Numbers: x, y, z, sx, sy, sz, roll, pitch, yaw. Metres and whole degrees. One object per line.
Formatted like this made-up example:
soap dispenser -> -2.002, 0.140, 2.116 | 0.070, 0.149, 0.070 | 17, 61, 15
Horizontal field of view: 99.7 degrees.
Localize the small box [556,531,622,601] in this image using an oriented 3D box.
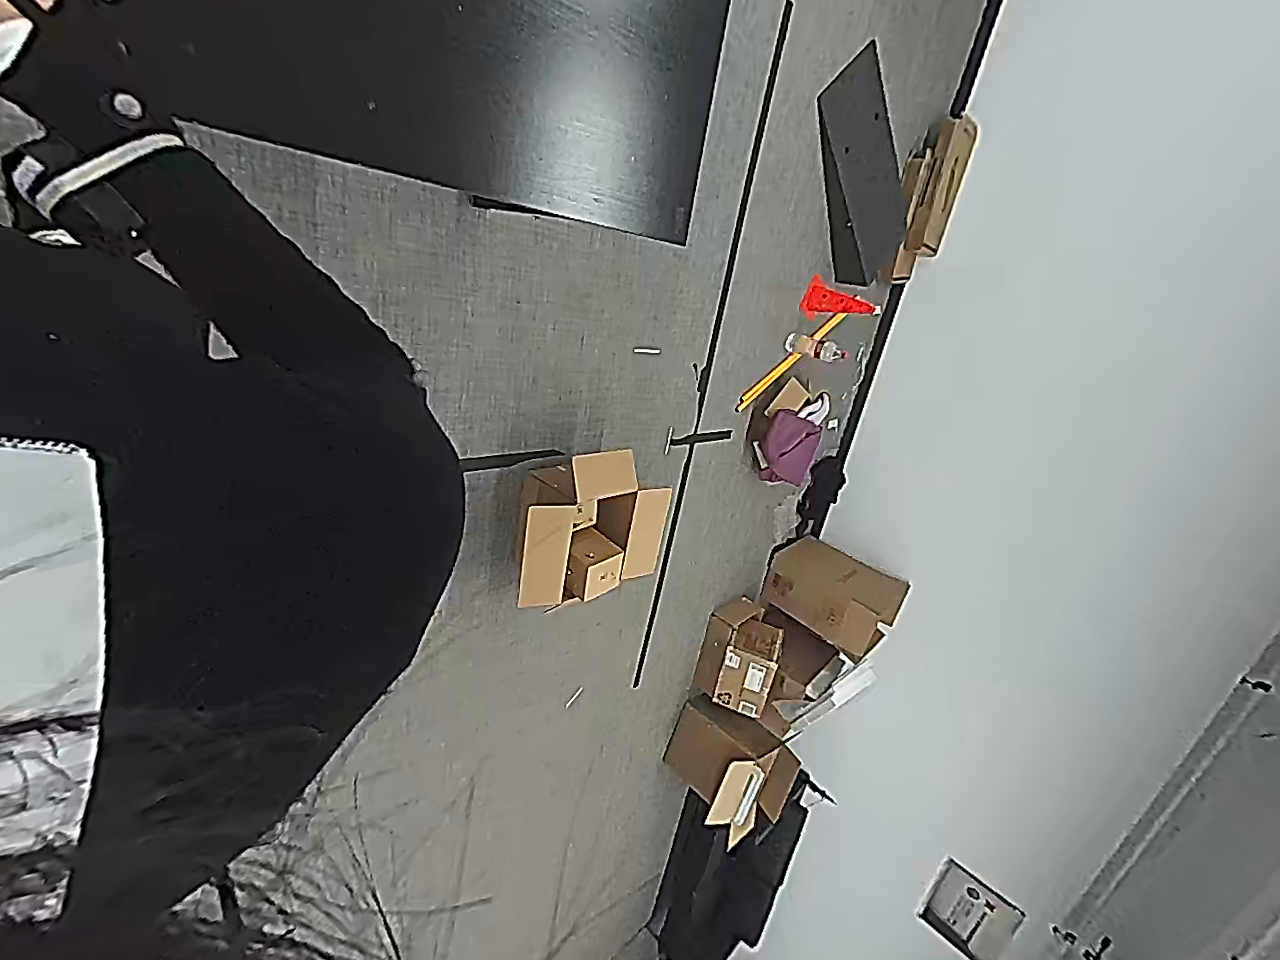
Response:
small box -> -0.196, 0.317, 2.028 | 0.179, 0.176, 0.168 | -19, 129, -42
